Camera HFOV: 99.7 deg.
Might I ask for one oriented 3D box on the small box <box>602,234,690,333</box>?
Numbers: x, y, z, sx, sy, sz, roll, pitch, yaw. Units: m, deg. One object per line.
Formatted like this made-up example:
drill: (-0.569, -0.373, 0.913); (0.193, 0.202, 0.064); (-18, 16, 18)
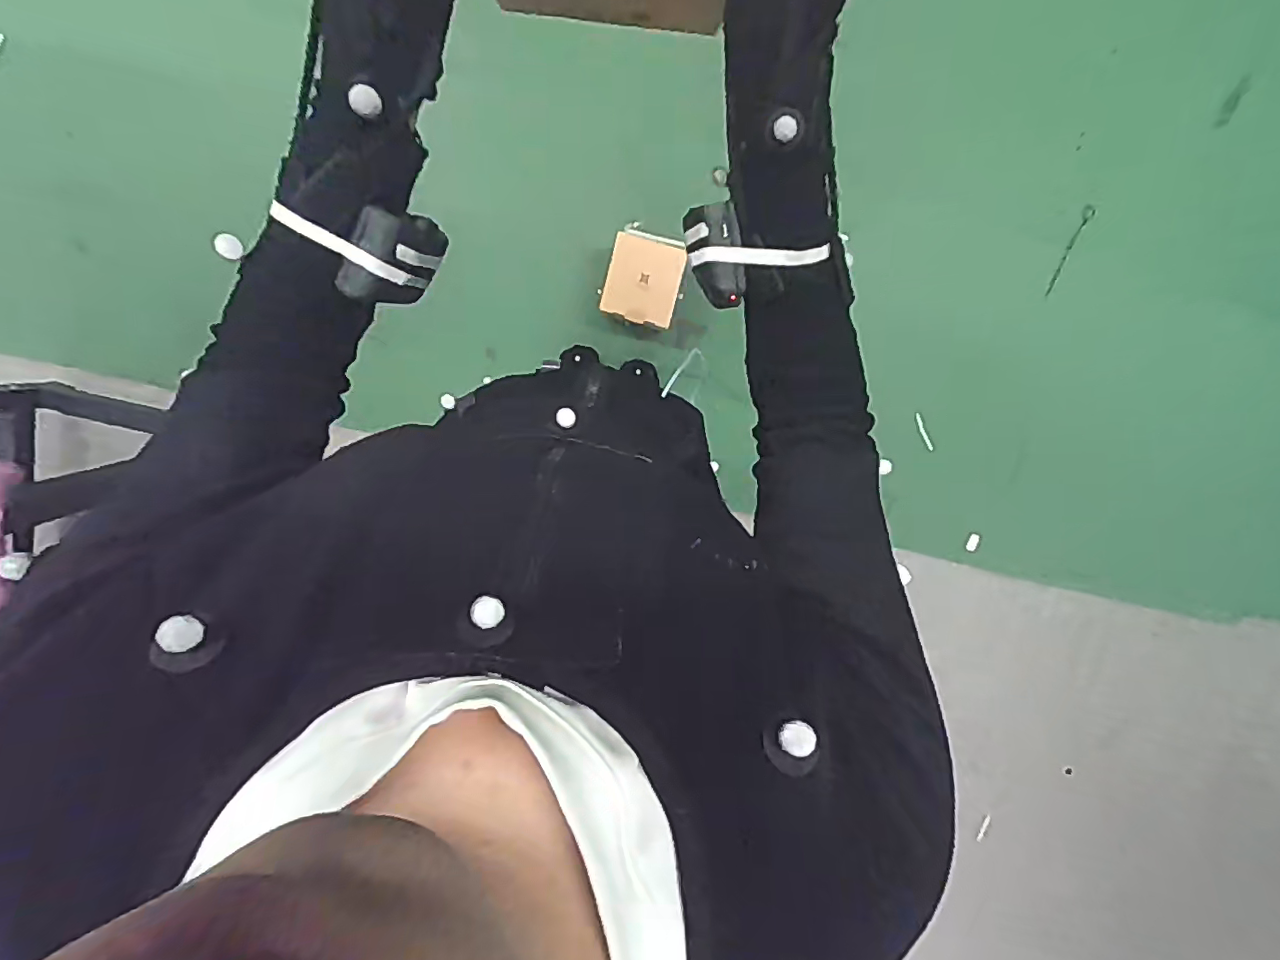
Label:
small box: (0.009, -0.464, 1.301); (0.168, 0.176, 0.179); (14, 103, -5)
